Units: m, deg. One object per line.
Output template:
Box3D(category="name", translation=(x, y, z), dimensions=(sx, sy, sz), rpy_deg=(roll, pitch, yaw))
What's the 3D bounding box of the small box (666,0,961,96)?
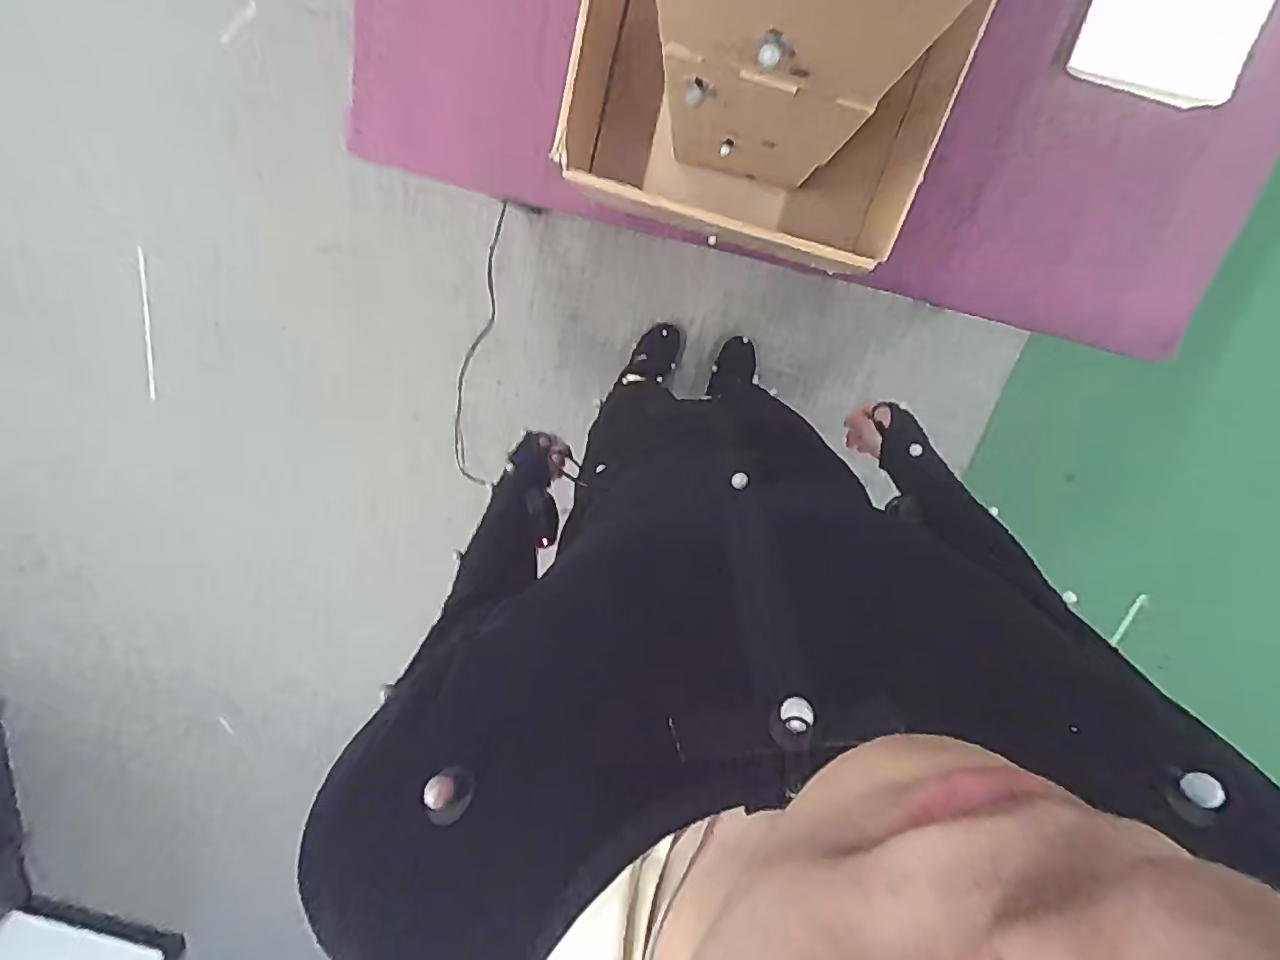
Box3D(category="small box", translation=(0.108, -0.352, 0.288), dimensions=(0.168, 0.176, 0.179), rpy_deg=(18, 109, 0))
